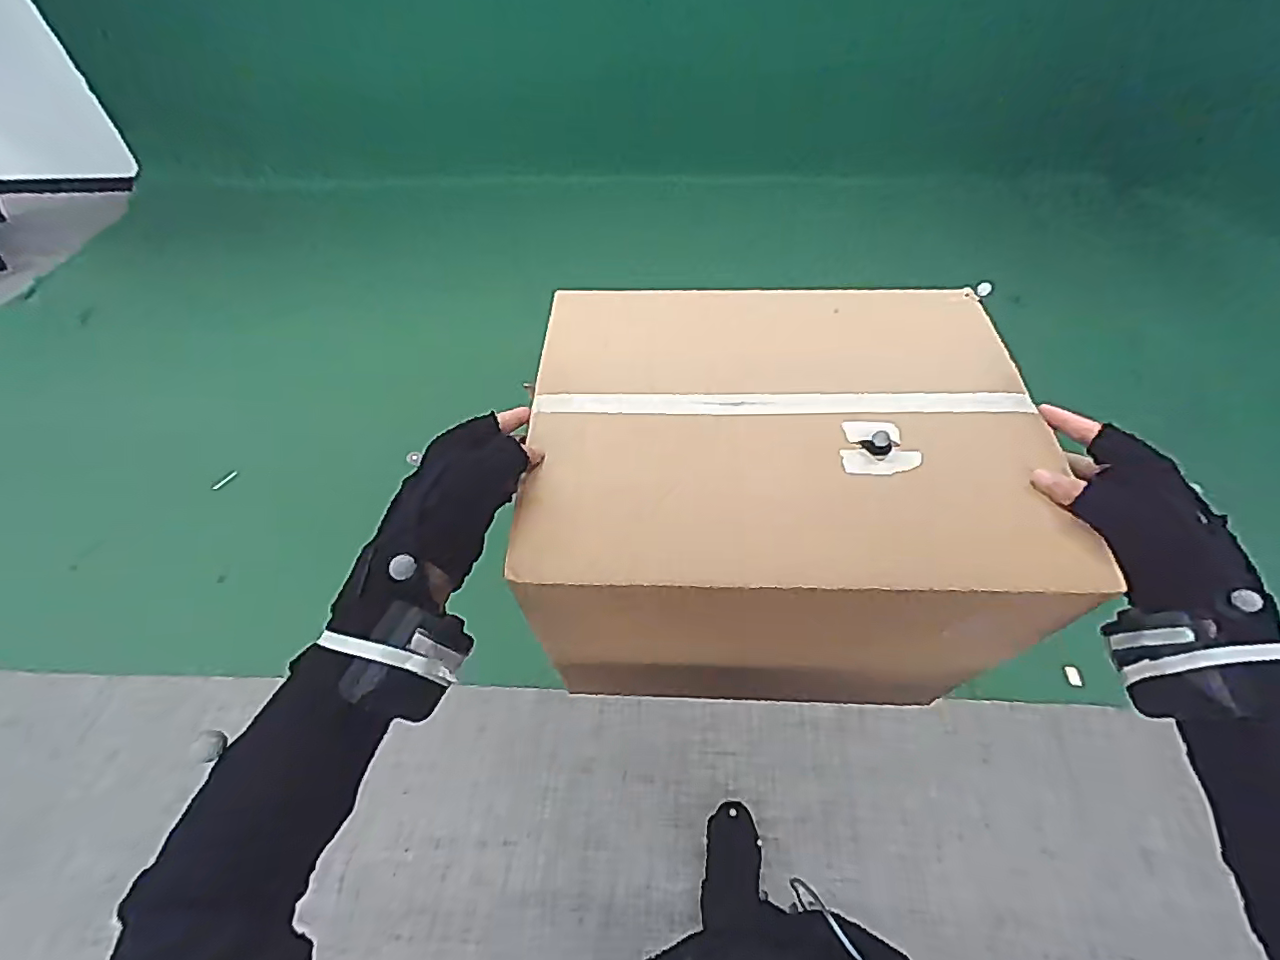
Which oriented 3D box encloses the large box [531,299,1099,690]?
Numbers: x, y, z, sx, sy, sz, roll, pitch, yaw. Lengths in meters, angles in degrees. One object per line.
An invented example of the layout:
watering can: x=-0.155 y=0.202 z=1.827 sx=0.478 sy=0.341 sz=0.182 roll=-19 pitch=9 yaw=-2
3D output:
large box: x=0.122 y=0.028 z=0.580 sx=0.408 sy=0.320 sz=0.320 roll=1 pitch=56 yaw=1
